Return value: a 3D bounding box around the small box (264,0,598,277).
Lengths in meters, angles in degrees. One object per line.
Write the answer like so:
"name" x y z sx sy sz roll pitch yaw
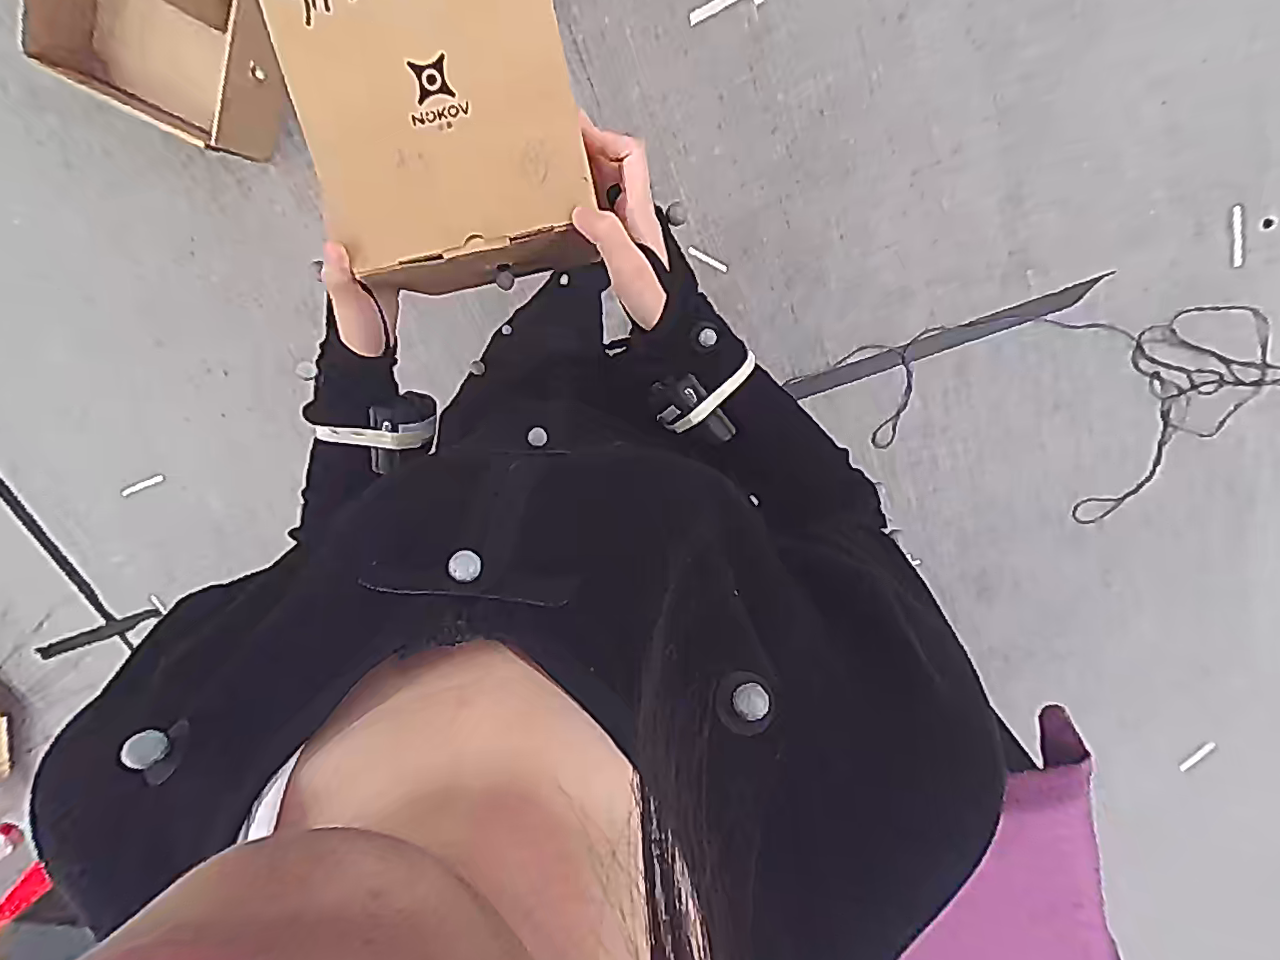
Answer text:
"small box" -0.127 -0.256 0.399 0.168 0.176 0.179 -13 106 -1

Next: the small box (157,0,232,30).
"small box" -0.941 -1.037 1.056 0.179 0.176 0.168 27 109 -7
